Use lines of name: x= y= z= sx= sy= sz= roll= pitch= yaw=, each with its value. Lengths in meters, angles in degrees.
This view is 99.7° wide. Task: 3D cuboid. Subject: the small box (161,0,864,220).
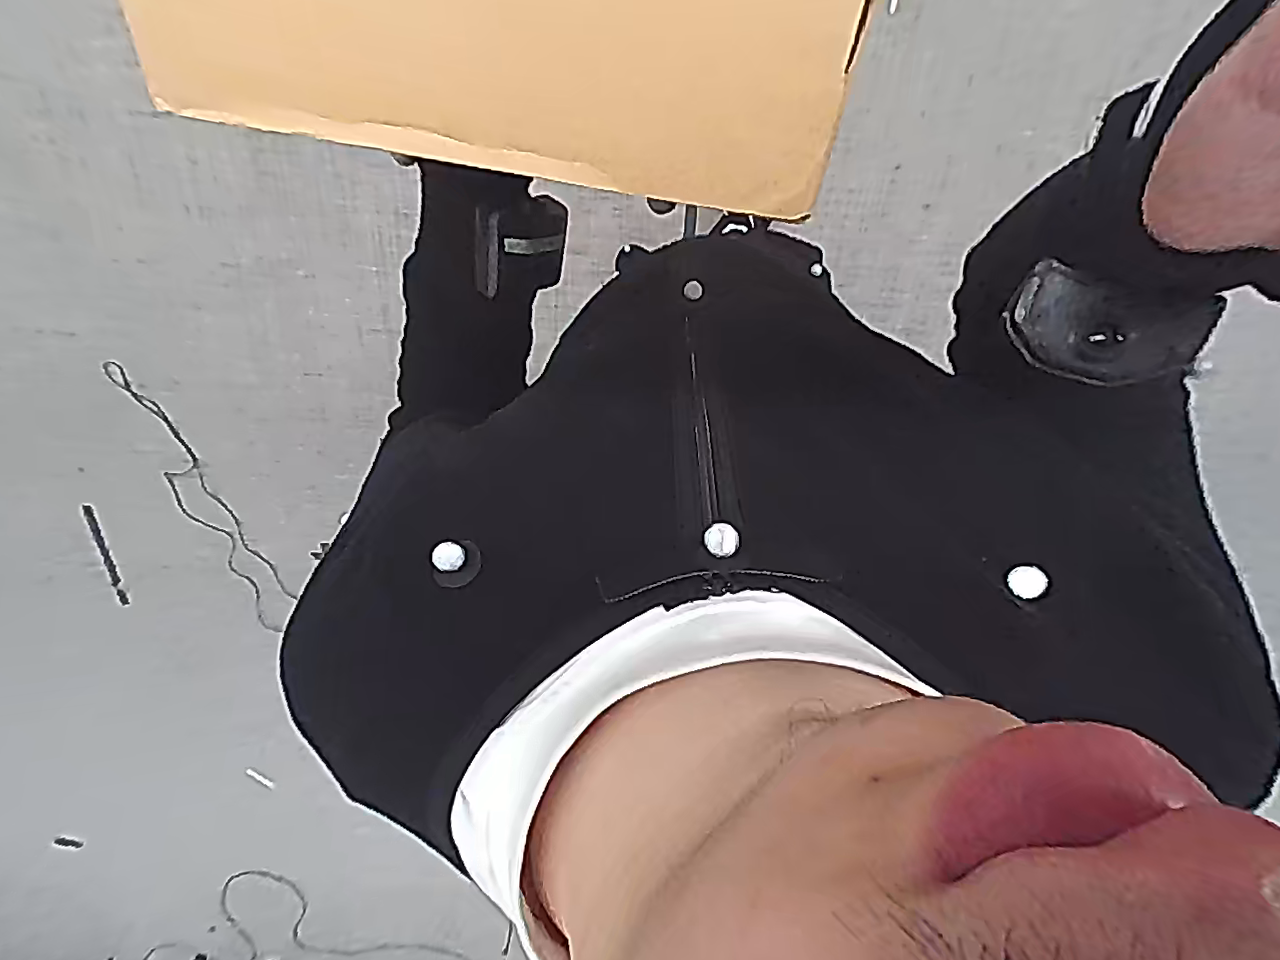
small box: x=-0.020 y=-0.198 z=0.169 sx=0.179 sy=0.176 sz=0.168 roll=11 pitch=125 yaw=1
